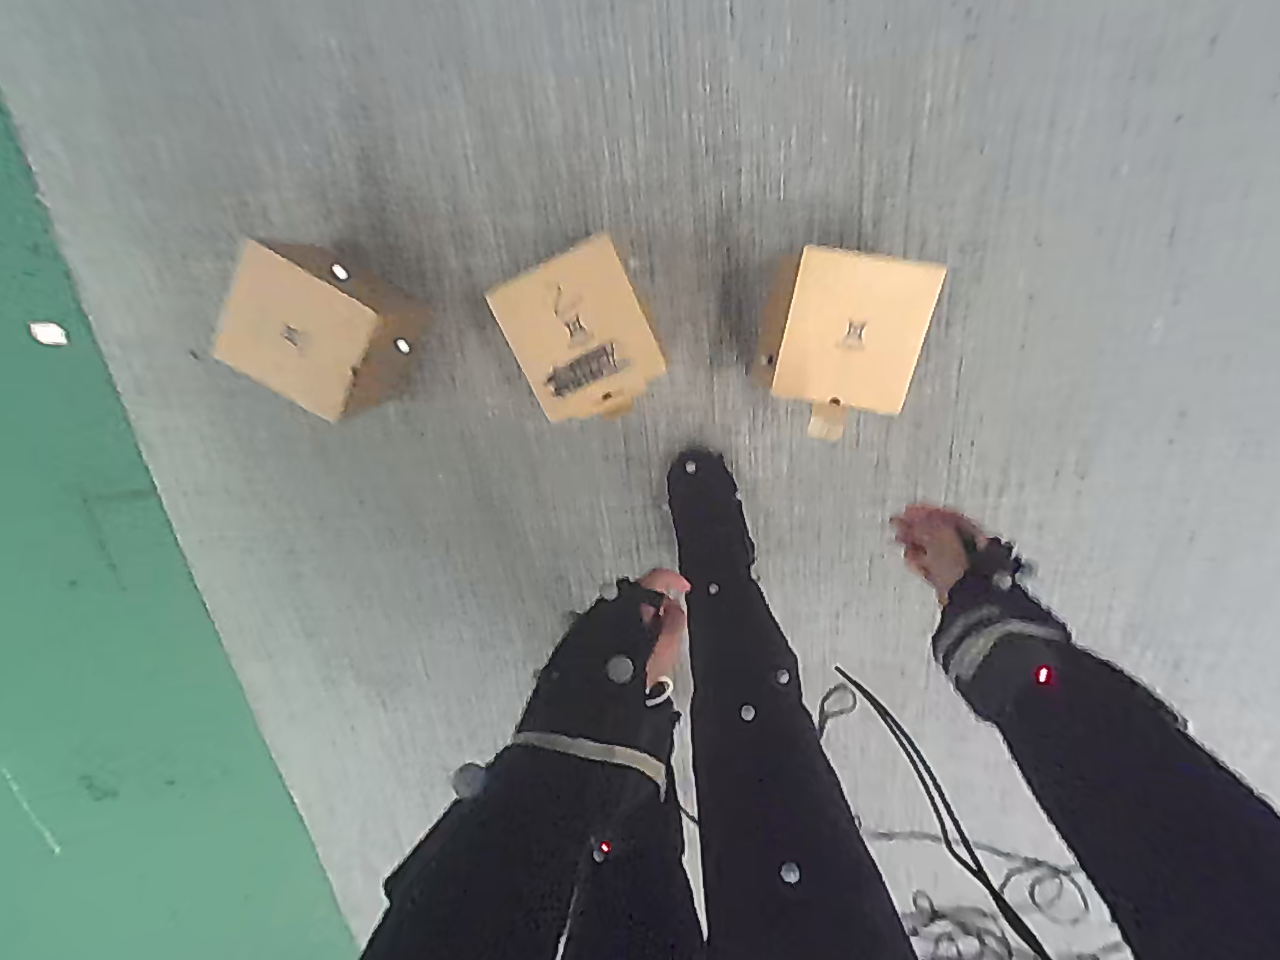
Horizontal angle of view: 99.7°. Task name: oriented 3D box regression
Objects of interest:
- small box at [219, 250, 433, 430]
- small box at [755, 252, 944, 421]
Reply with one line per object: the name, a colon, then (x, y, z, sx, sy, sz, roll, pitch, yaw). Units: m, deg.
small box: (-0.423, -0.198, 0.755, 0.179, 0.176, 0.168, 30, 108, -6)
small box: (0.257, -0.193, 0.715, 0.168, 0.176, 0.179, 8, 111, 0)
